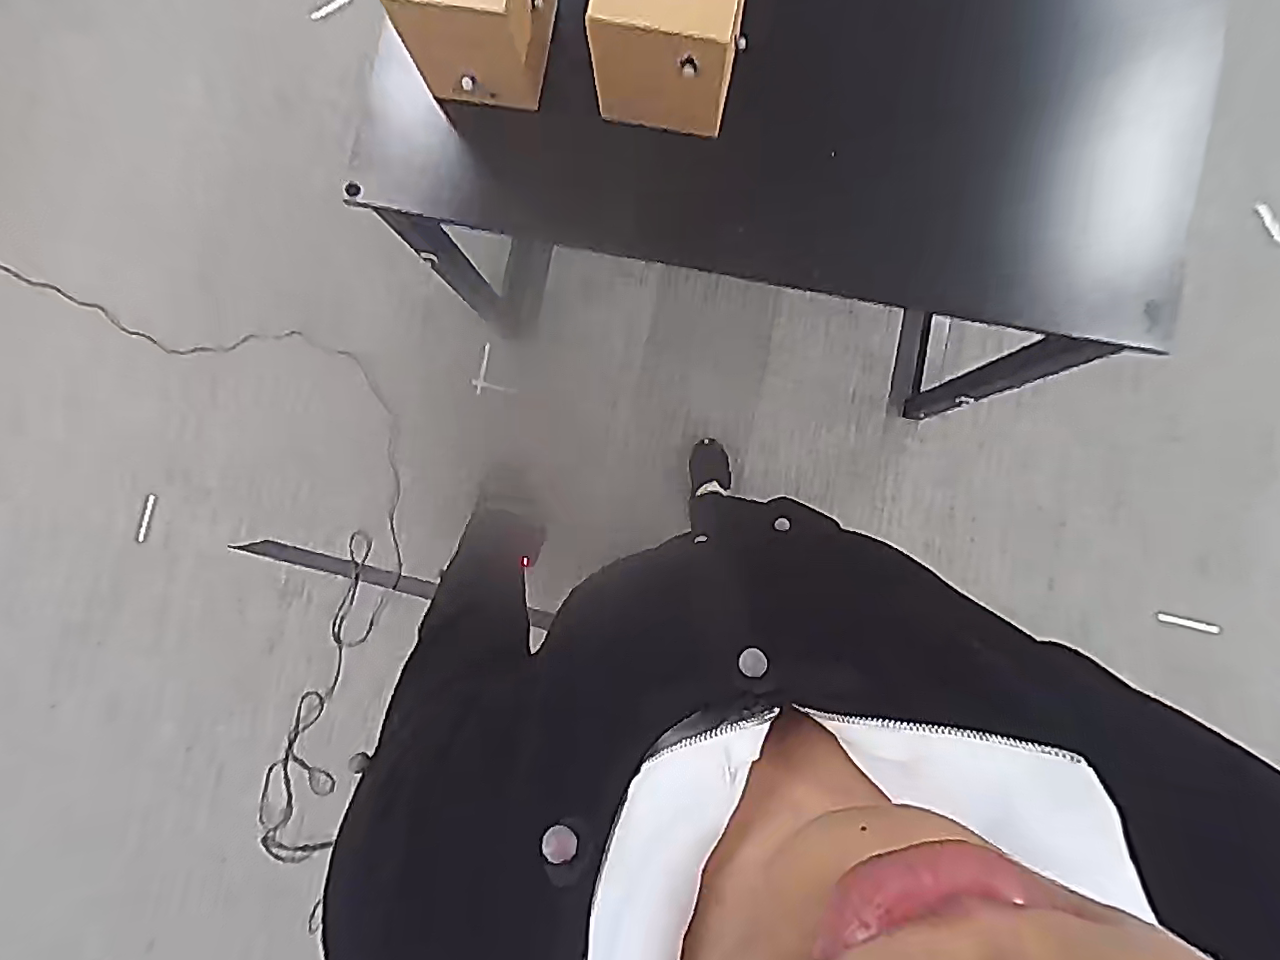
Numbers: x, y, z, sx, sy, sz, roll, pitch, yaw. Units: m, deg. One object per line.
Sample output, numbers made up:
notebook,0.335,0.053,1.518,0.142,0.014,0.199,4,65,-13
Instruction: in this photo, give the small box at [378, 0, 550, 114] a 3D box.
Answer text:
small box,-0.227,-0.650,0.736,0.168,0.176,0.179,10,89,3

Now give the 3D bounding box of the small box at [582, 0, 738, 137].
small box,0.034,-0.597,0.721,0.179,0.176,0.168,12,87,3
